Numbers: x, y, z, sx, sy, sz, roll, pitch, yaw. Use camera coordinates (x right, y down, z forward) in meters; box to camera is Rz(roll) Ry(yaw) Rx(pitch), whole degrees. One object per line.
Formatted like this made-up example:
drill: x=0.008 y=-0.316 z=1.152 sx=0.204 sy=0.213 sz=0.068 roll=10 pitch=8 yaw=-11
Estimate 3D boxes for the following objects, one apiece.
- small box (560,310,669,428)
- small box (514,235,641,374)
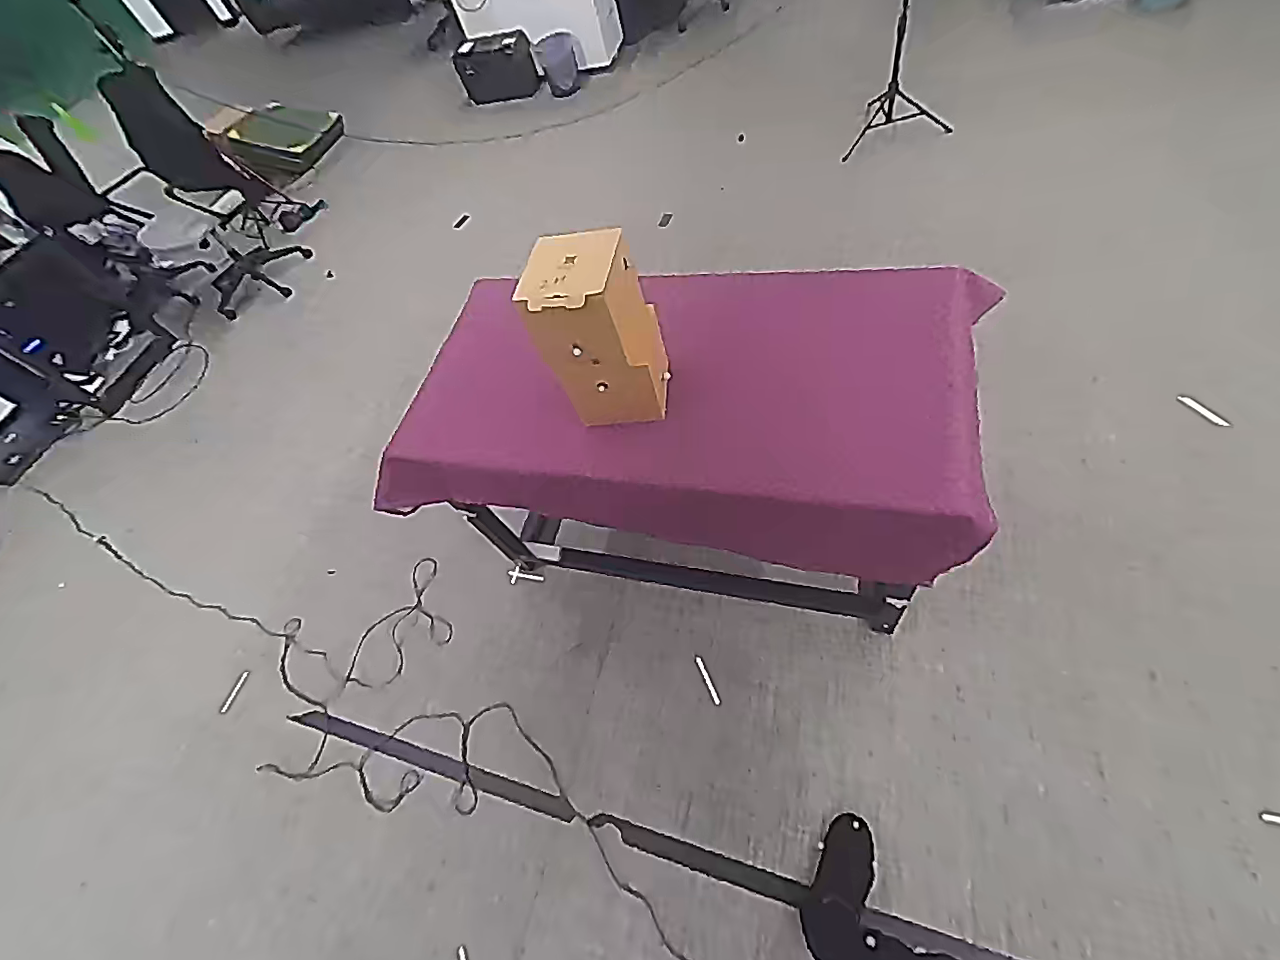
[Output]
small box: x=-0.045 y=-0.222 z=1.114 sx=0.179 sy=0.176 sz=0.168 roll=-3 pitch=58 yaw=13
small box: x=-0.102 y=-0.316 z=0.989 sx=0.168 sy=0.176 sz=0.179 roll=1 pitch=59 yaw=17
